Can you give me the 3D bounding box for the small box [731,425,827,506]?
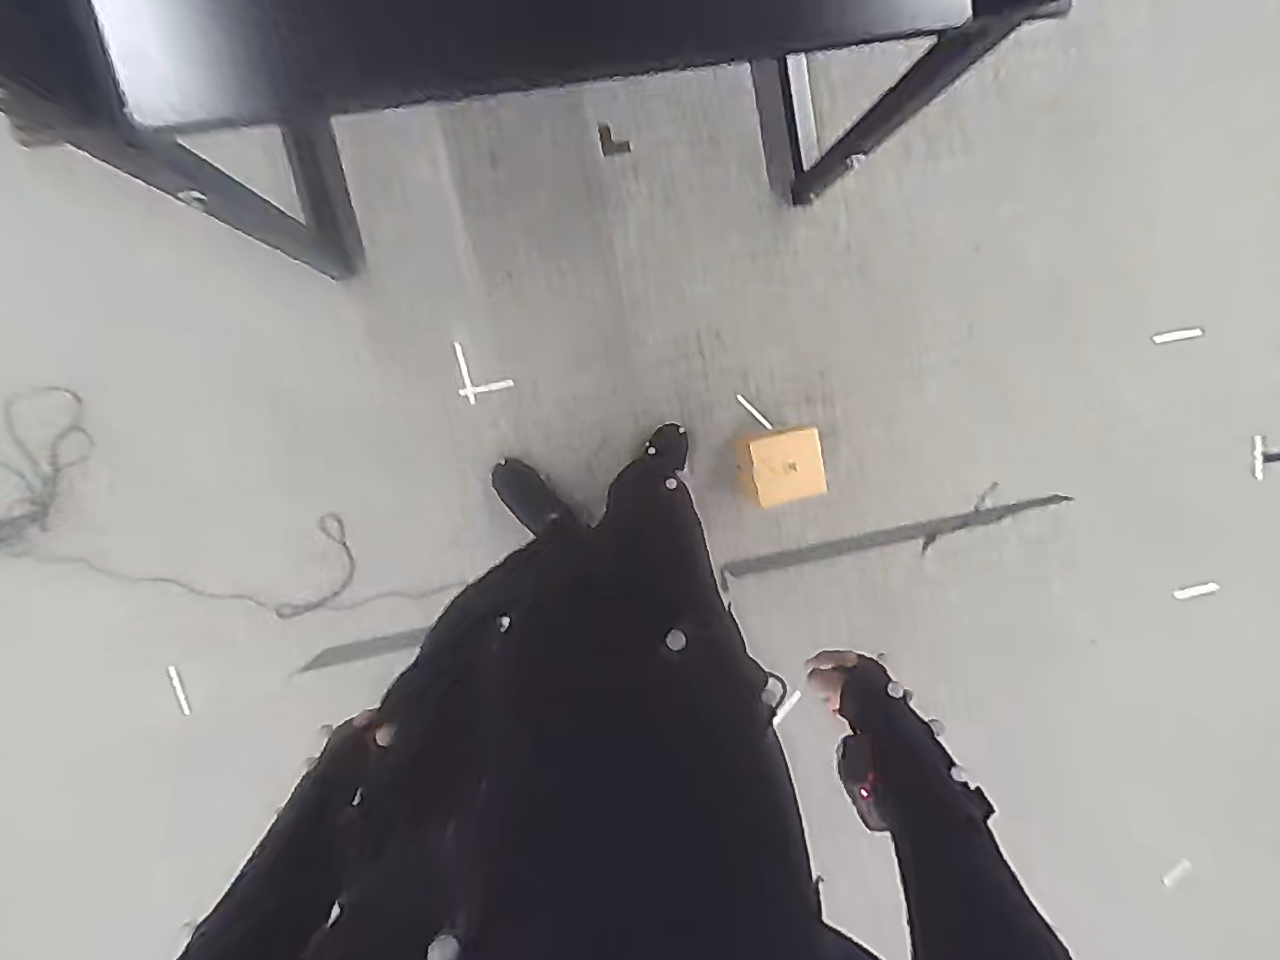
[{"bbox_3d":[0.350,-0.043,1.380,0.179,0.176,0.168,-13,100,-5],"label":"small box"}]
